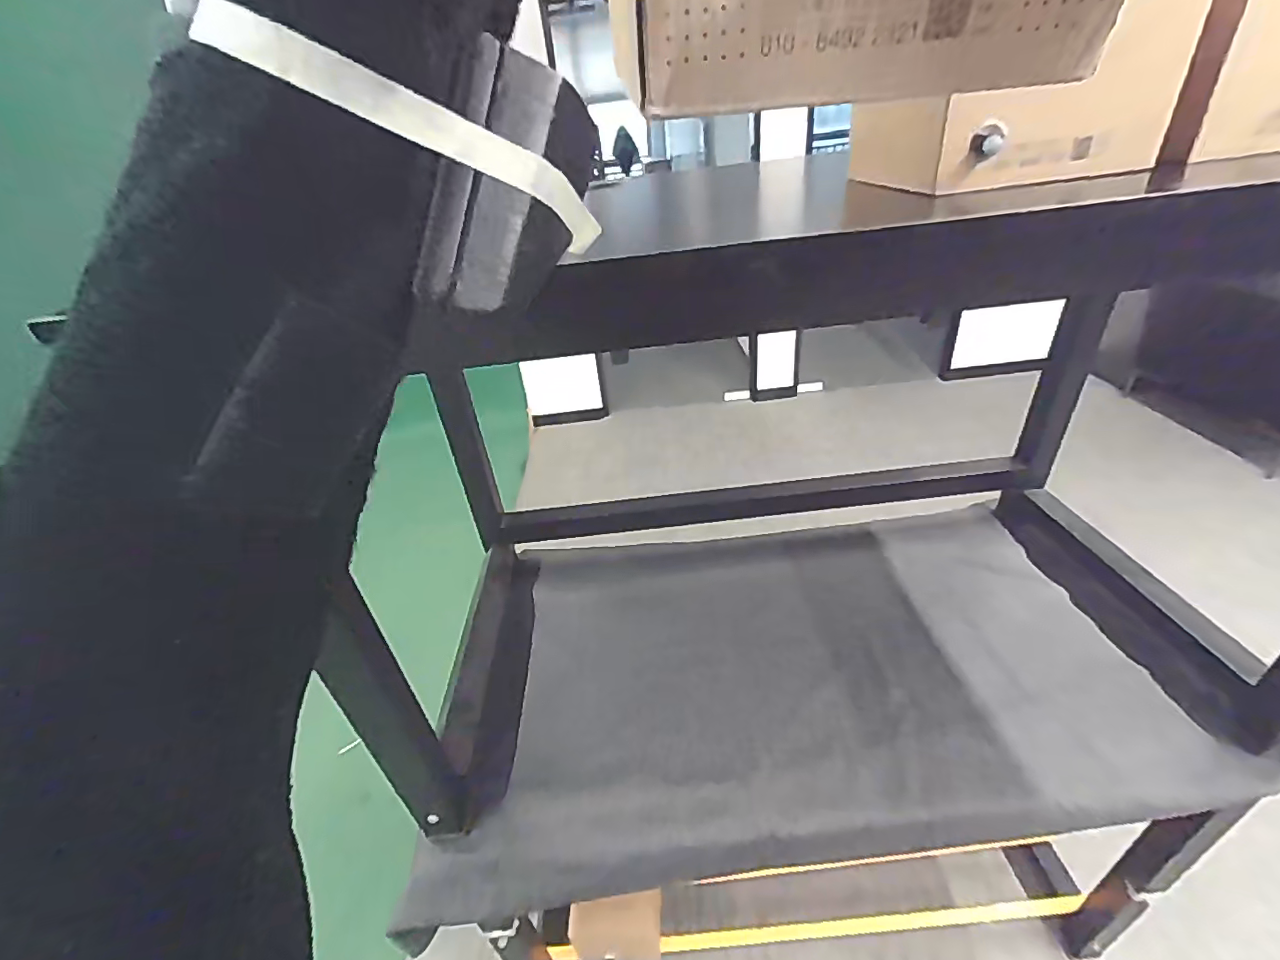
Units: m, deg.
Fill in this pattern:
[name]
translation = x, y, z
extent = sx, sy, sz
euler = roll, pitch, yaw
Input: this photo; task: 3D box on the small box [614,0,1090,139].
[small box]
translation = 0.070, -0.251, 0.220
extent = 0.168, 0.176, 0.179
euler = -6, 41, -1
